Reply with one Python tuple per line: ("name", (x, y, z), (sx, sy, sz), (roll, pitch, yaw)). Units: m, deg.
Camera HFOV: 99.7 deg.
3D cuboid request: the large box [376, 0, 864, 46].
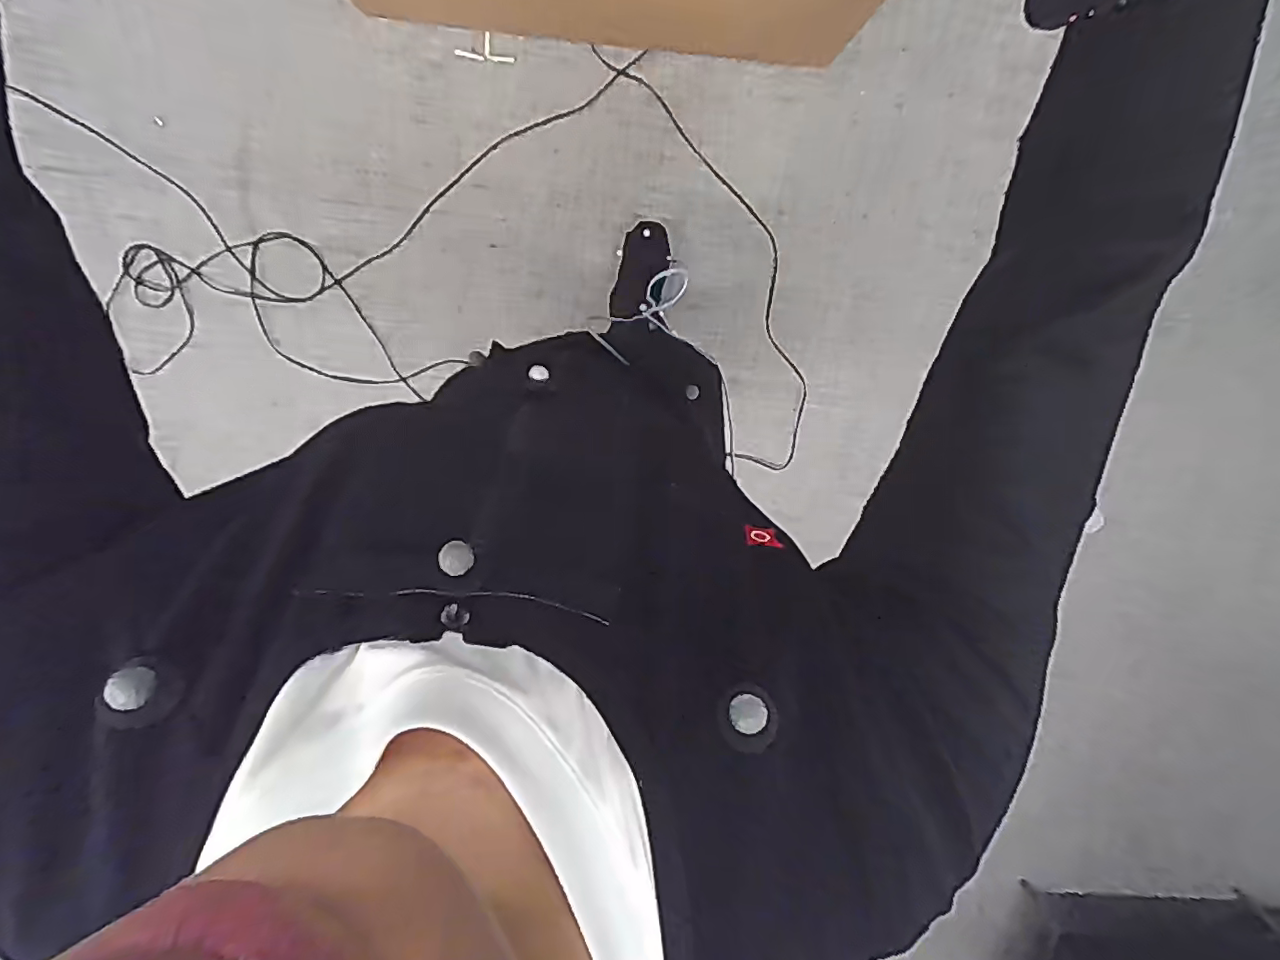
("large box", (-0.010, -0.494, 0.284), (0.408, 0.320, 0.320), (3, 107, -5))
